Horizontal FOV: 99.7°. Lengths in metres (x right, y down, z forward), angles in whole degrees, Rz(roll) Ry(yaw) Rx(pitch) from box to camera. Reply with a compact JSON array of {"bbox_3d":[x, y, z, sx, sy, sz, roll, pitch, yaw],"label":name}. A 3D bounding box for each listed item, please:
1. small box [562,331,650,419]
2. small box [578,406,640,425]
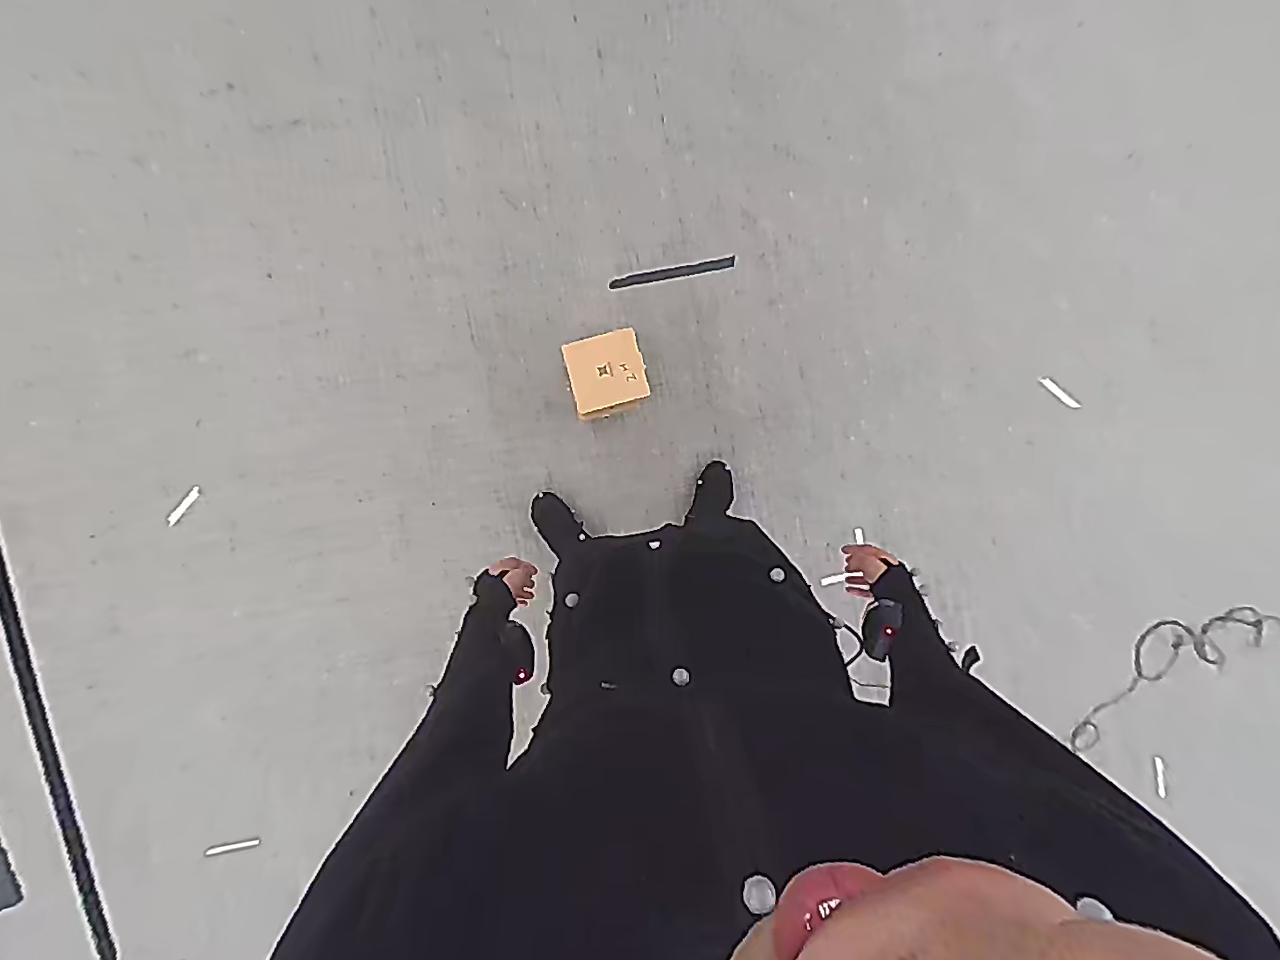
[{"bbox_3d":[-0.081,-0.251,1.332,0.179,0.176,0.168,-15,95,-2],"label":"small box"},{"bbox_3d":[-0.103,-0.257,1.495,0.168,0.176,0.179,-14,95,-2],"label":"small box"}]
